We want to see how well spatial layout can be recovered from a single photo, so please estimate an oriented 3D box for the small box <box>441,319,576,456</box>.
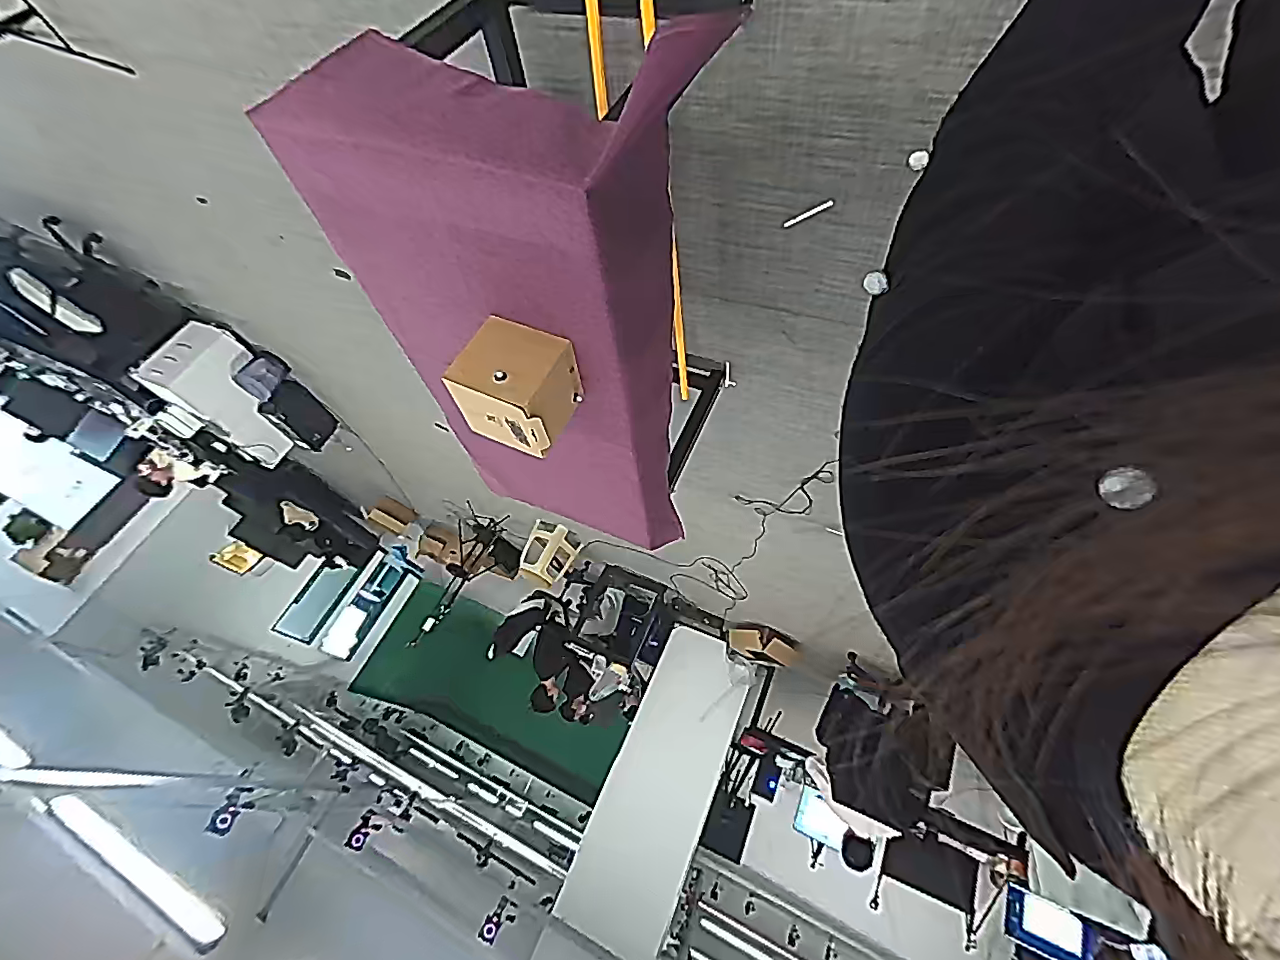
[{"bbox_3d":[-0.235,-0.179,1.028,0.179,0.176,0.168,22,154,15],"label":"small box"}]
